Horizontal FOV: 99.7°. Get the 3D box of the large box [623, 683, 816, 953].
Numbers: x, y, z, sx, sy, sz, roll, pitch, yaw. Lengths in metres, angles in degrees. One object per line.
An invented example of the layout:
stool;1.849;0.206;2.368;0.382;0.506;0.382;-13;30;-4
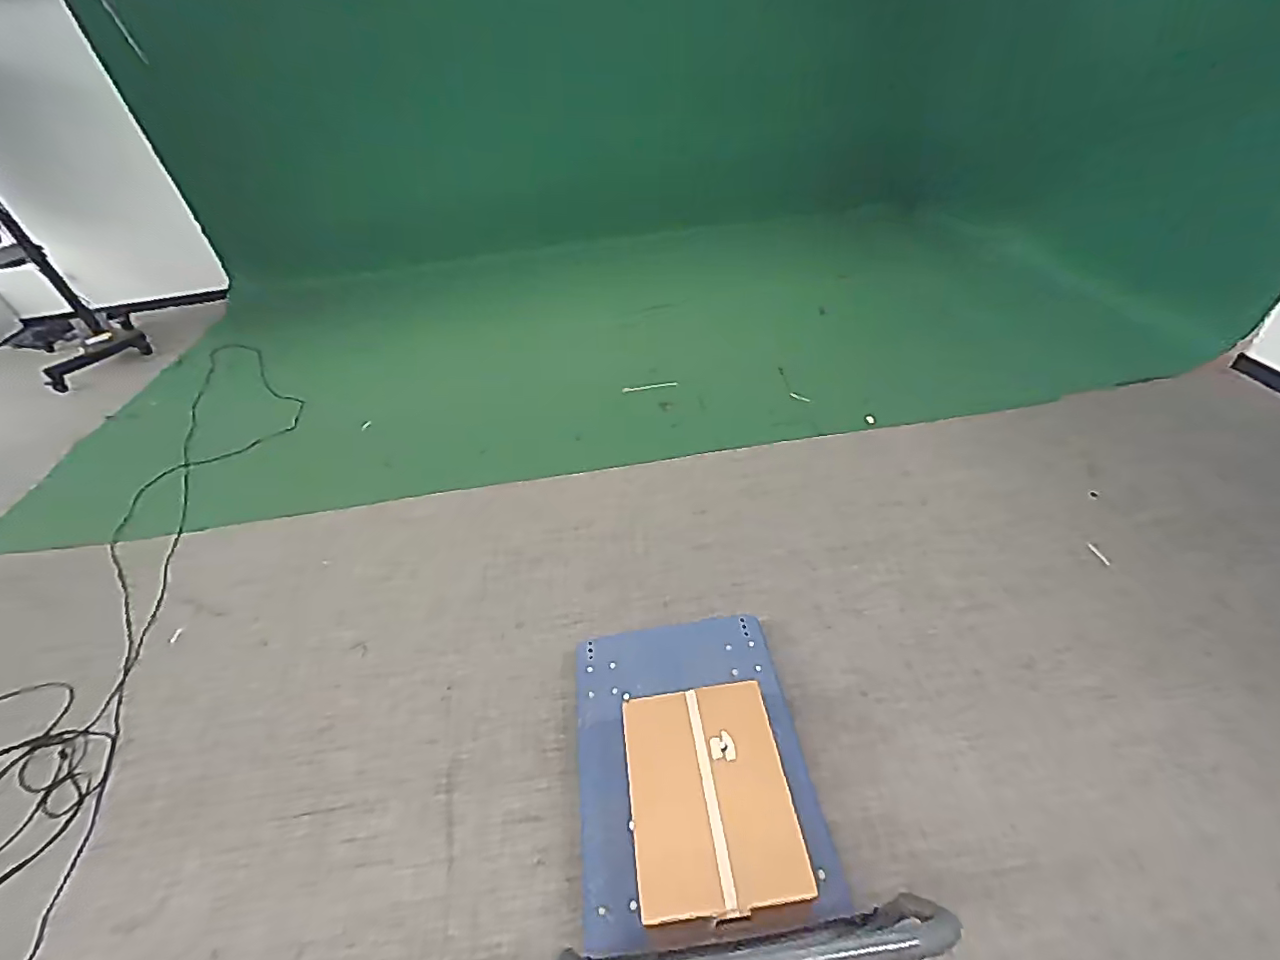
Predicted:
large box;0.150;0.724;1.178;0.320;0.320;0.408;-8;41;-2
